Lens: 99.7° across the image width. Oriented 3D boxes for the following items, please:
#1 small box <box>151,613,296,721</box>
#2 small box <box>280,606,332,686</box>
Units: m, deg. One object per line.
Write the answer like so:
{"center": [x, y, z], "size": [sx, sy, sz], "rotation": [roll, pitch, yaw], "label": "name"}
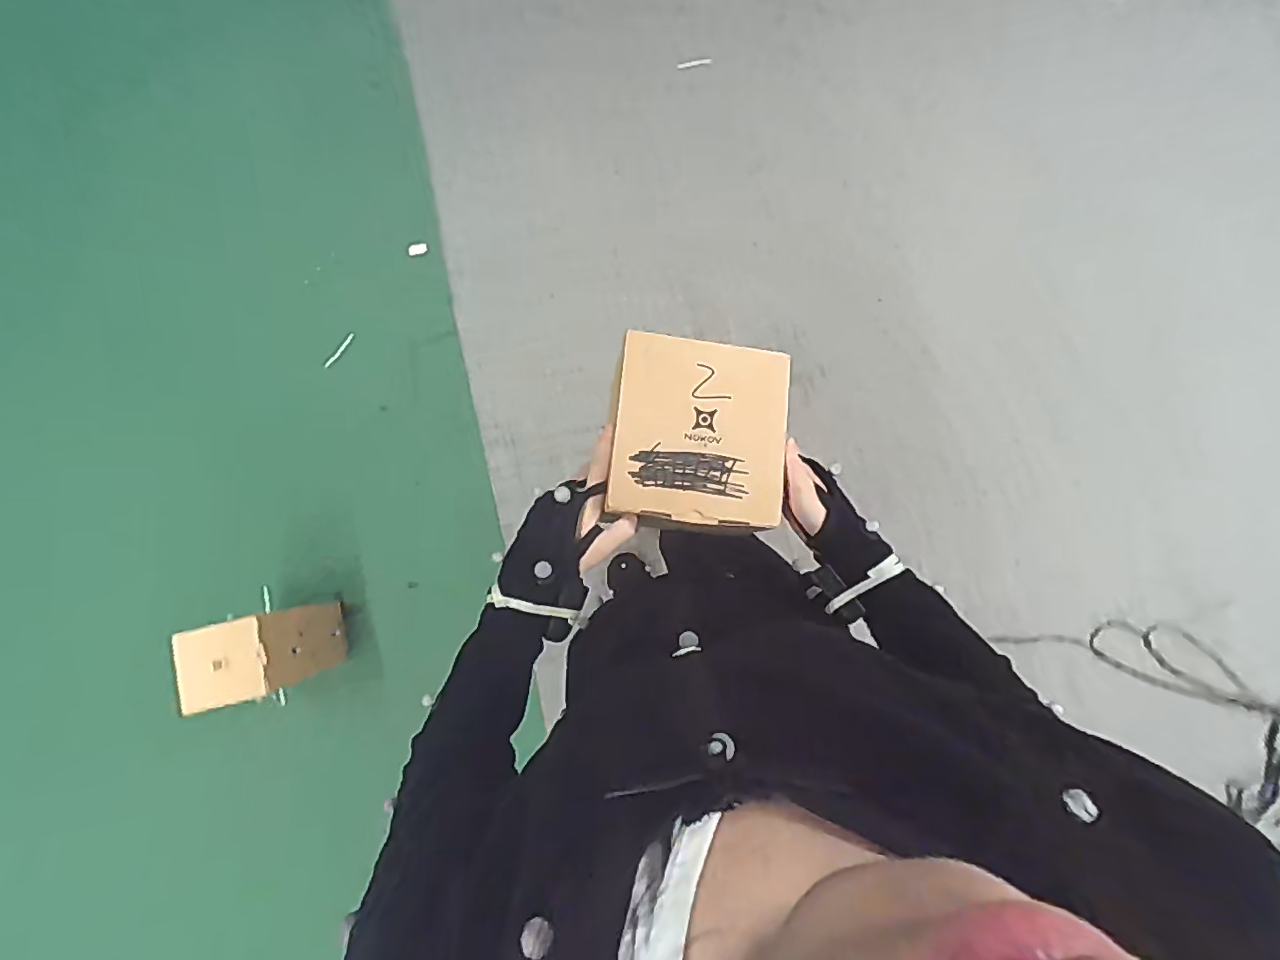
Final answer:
{"center": [-0.881, 0.390, 1.155], "size": [0.179, 0.176, 0.168], "rotation": [-13, 83, -5], "label": "small box"}
{"center": [-0.888, 0.411, 1.316], "size": [0.179, 0.176, 0.168], "rotation": [-12, 84, -5], "label": "small box"}
